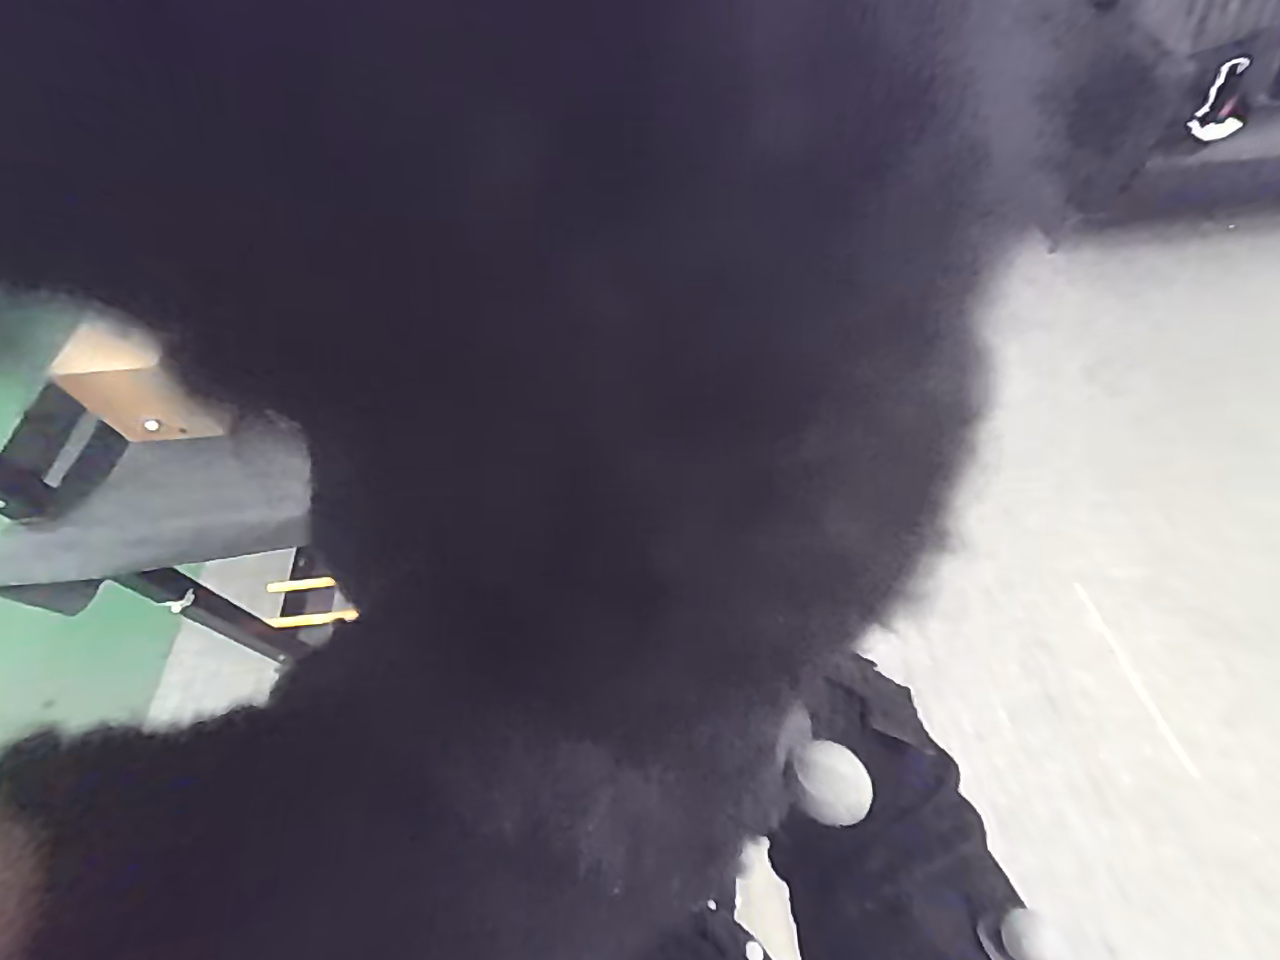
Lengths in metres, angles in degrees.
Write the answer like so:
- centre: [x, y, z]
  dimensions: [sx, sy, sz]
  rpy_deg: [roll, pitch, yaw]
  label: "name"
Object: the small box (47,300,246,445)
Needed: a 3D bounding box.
- centre: [-0.818, -0.182, 0.929]
  dimensions: [0.168, 0.176, 0.179]
  rpy_deg: [-5, 56, -2]
  label: "small box"
